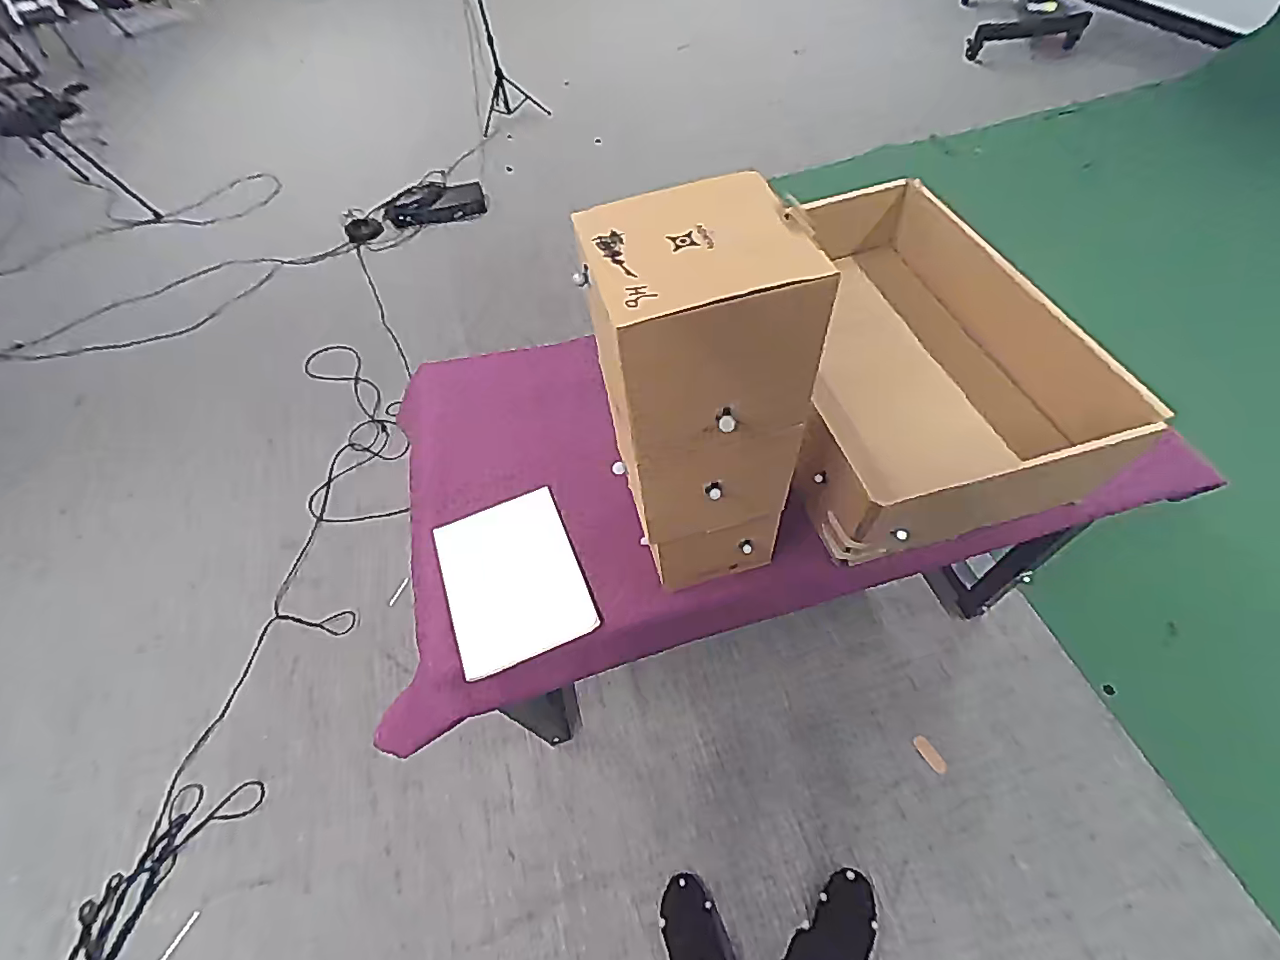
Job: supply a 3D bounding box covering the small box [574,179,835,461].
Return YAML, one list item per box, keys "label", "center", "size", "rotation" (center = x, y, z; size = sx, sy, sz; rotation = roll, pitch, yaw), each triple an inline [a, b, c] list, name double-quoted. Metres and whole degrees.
- label: "small box"
  center: [0.049, -0.143, 0.503]
  size: [0.179, 0.176, 0.168]
  rotation: [-15, 54, -5]

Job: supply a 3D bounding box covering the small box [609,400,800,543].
- label: "small box"
  center: [0.065, -0.050, 0.638]
  size: [0.179, 0.176, 0.168]
  rotation: [-15, 54, -3]
